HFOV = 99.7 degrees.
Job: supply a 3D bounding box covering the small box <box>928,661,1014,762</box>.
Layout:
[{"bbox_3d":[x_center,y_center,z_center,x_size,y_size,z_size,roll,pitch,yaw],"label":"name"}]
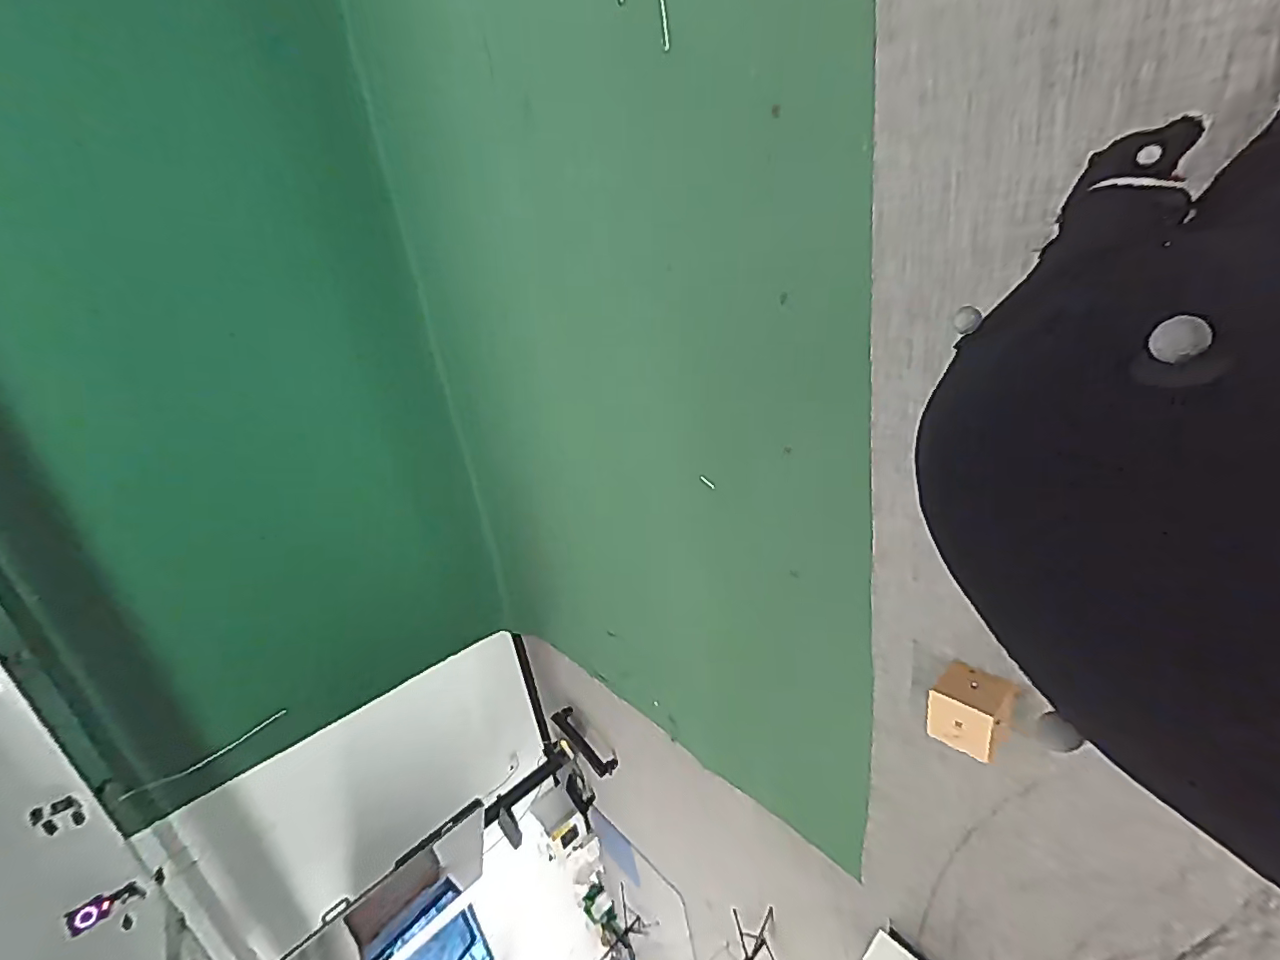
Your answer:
[{"bbox_3d":[0.967,0.664,1.577,0.168,0.176,0.179,17,122,48],"label":"small box"}]
